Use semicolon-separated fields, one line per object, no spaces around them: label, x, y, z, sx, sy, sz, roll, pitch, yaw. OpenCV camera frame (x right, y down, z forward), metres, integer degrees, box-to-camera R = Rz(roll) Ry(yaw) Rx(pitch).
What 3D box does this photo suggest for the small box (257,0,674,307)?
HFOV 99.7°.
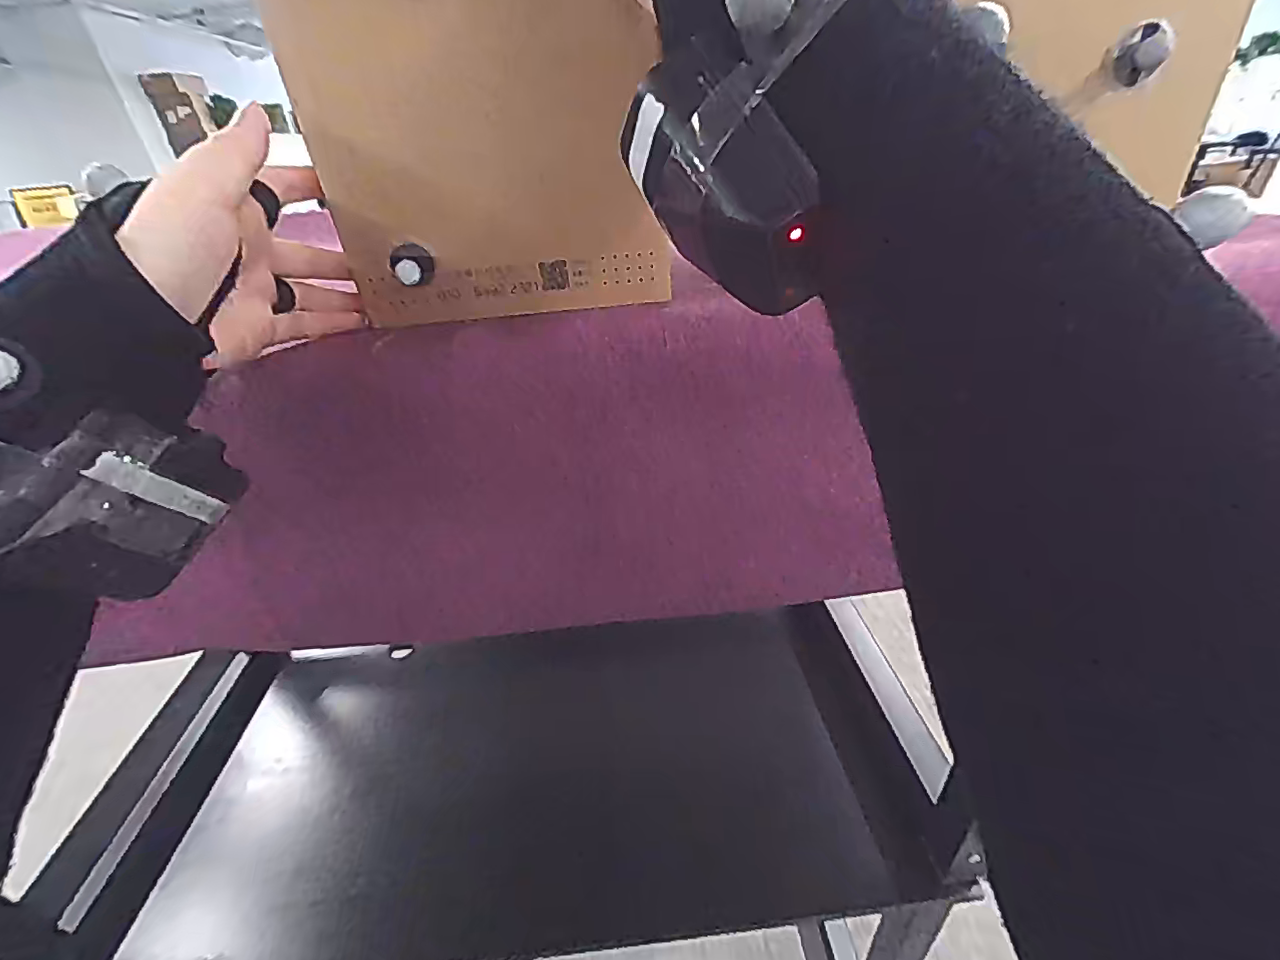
small box;-0.072;-0.204;0.313;0.168;0.176;0.179;-5;34;-1
